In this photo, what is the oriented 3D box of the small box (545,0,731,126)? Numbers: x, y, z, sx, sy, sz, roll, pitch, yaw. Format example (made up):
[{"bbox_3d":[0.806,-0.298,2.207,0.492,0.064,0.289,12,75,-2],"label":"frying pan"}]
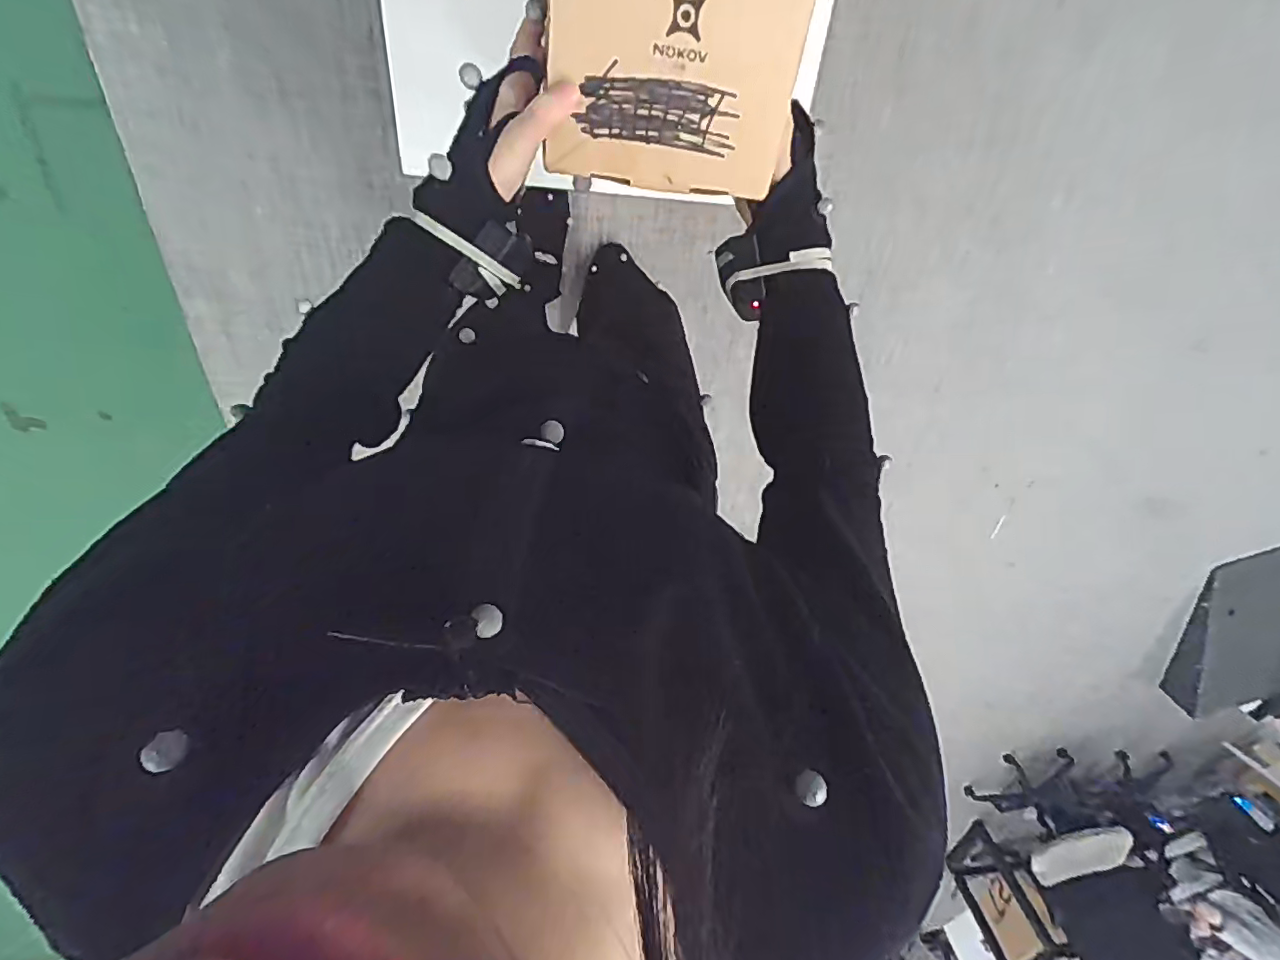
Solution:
[{"bbox_3d":[-0.011,-0.468,0.542,0.168,0.176,0.179,0,123,-9],"label":"small box"}]
